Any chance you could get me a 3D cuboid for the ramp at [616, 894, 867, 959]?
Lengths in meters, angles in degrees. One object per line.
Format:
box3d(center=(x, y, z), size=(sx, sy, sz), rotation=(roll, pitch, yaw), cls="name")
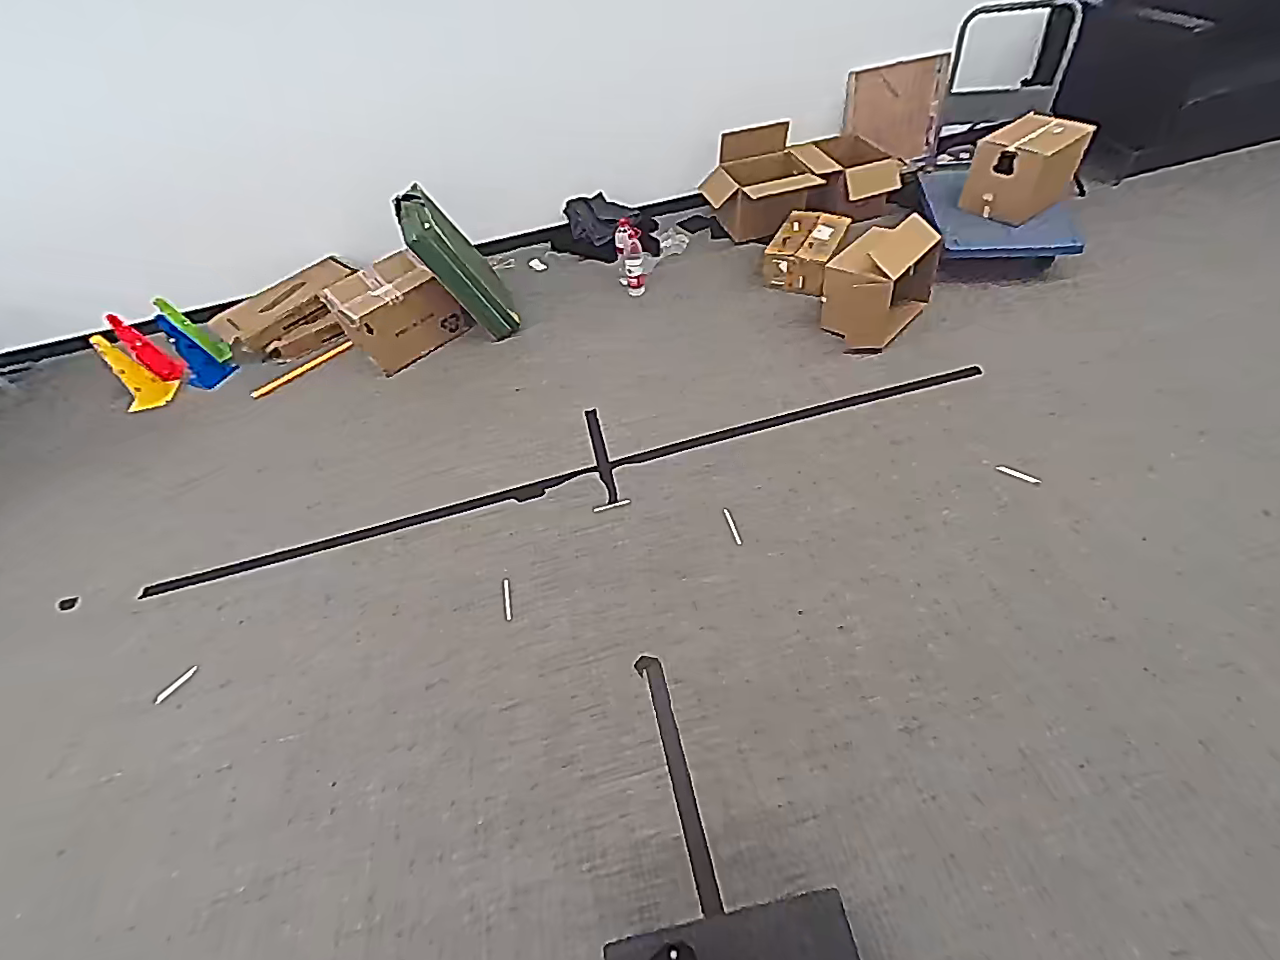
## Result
box3d(center=(0.293, 1.307, 0.836), size=(0.509, 0.206, 0.991), rotation=(-14, 50, -4), cls="ramp")
